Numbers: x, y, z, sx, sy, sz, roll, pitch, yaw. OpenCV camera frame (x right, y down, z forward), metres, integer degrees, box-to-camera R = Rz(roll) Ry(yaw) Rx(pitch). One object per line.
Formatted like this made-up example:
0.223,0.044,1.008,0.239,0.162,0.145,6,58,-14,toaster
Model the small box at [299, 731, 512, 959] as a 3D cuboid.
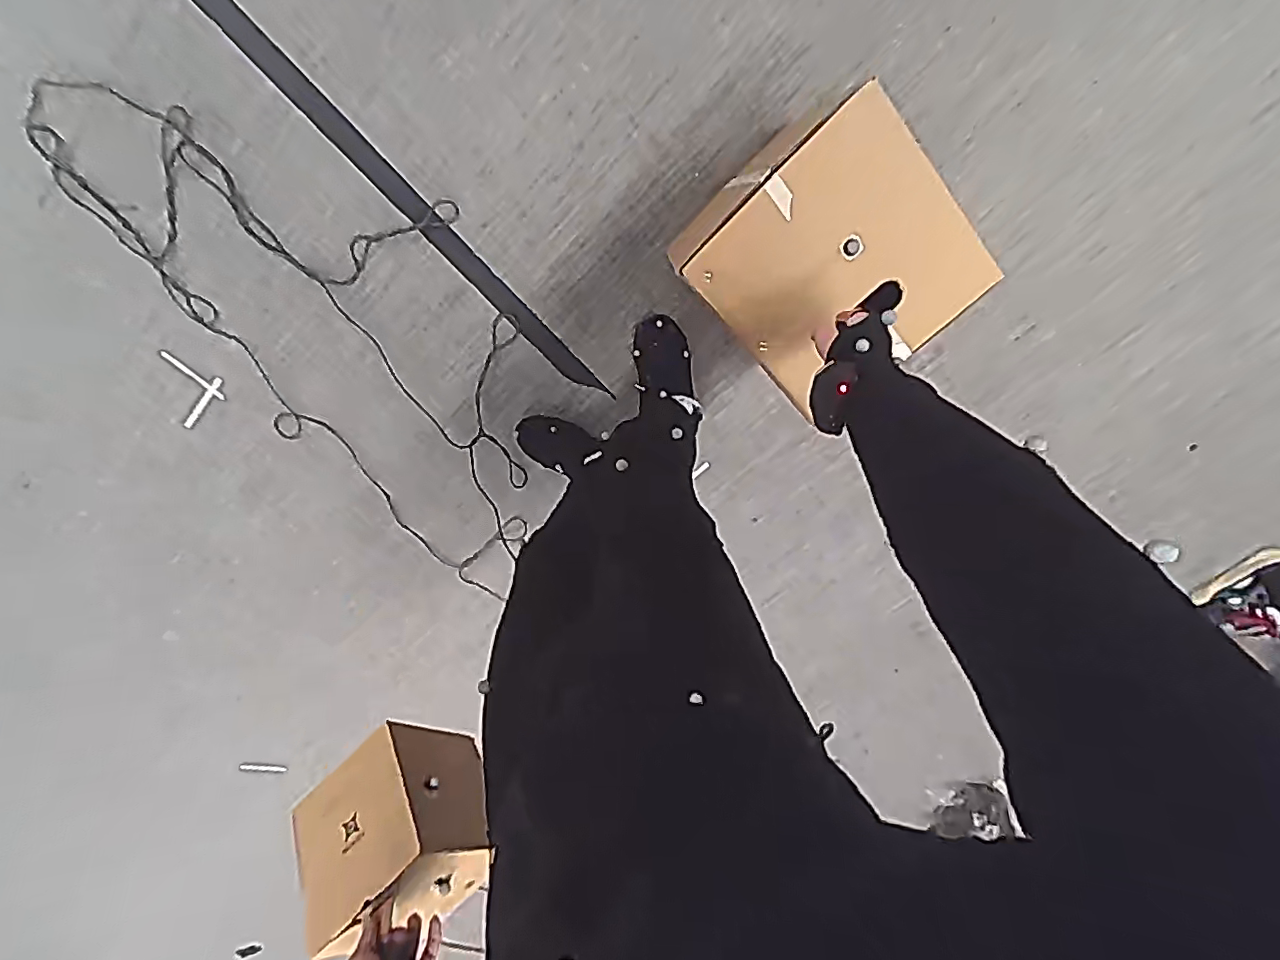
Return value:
-0.294,0.457,0.692,0.168,0.179,0.176,-44,138,-1,small box
